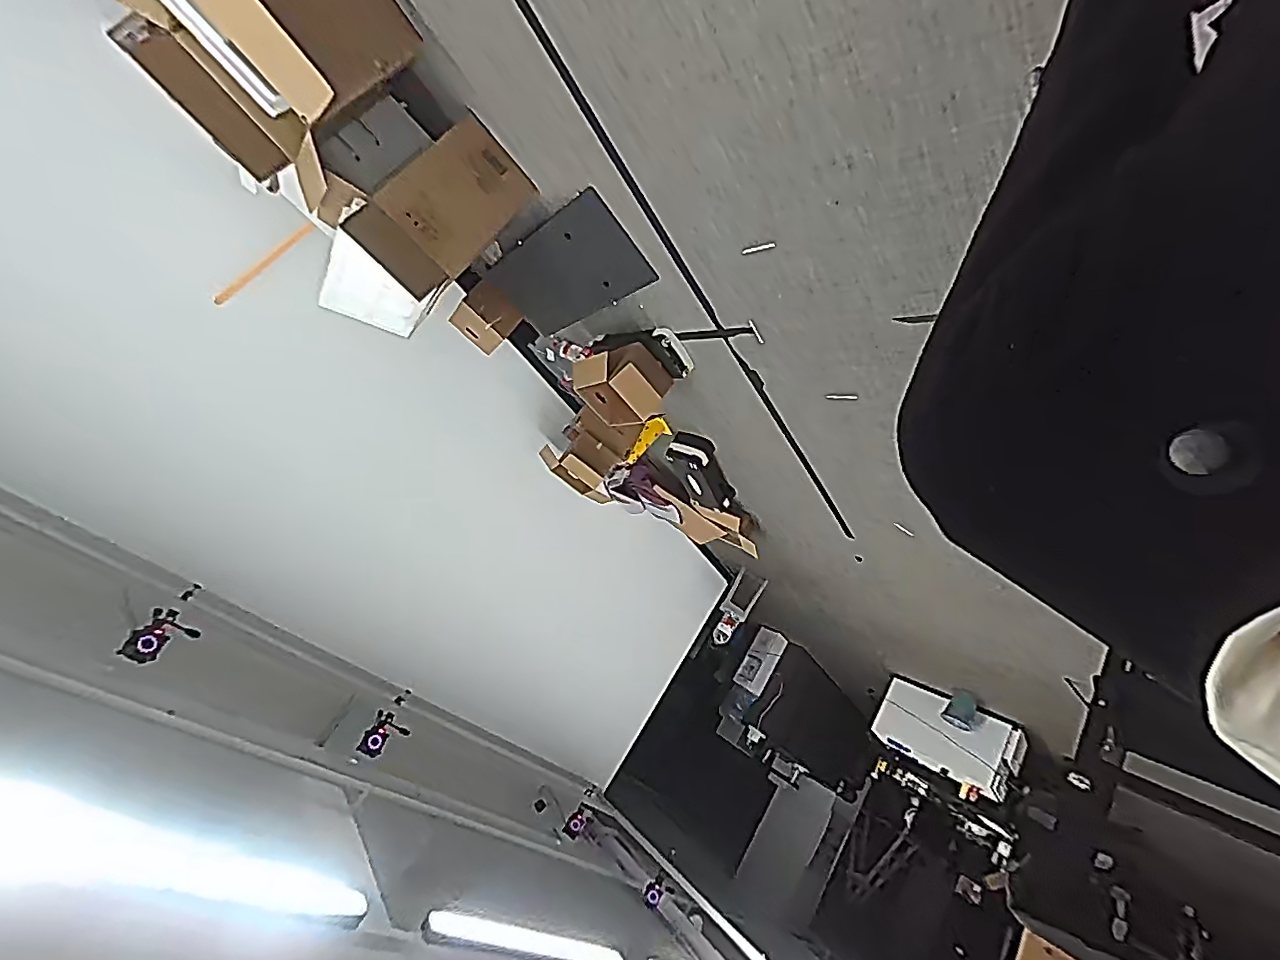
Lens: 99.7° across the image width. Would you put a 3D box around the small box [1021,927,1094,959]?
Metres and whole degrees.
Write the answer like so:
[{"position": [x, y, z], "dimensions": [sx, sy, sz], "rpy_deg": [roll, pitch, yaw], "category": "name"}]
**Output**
[{"position": [1.136, 1.343, 1.446], "dimensions": [0.179, 0.176, 0.168], "rpy_deg": [39, 162, -32], "category": "small box"}]
